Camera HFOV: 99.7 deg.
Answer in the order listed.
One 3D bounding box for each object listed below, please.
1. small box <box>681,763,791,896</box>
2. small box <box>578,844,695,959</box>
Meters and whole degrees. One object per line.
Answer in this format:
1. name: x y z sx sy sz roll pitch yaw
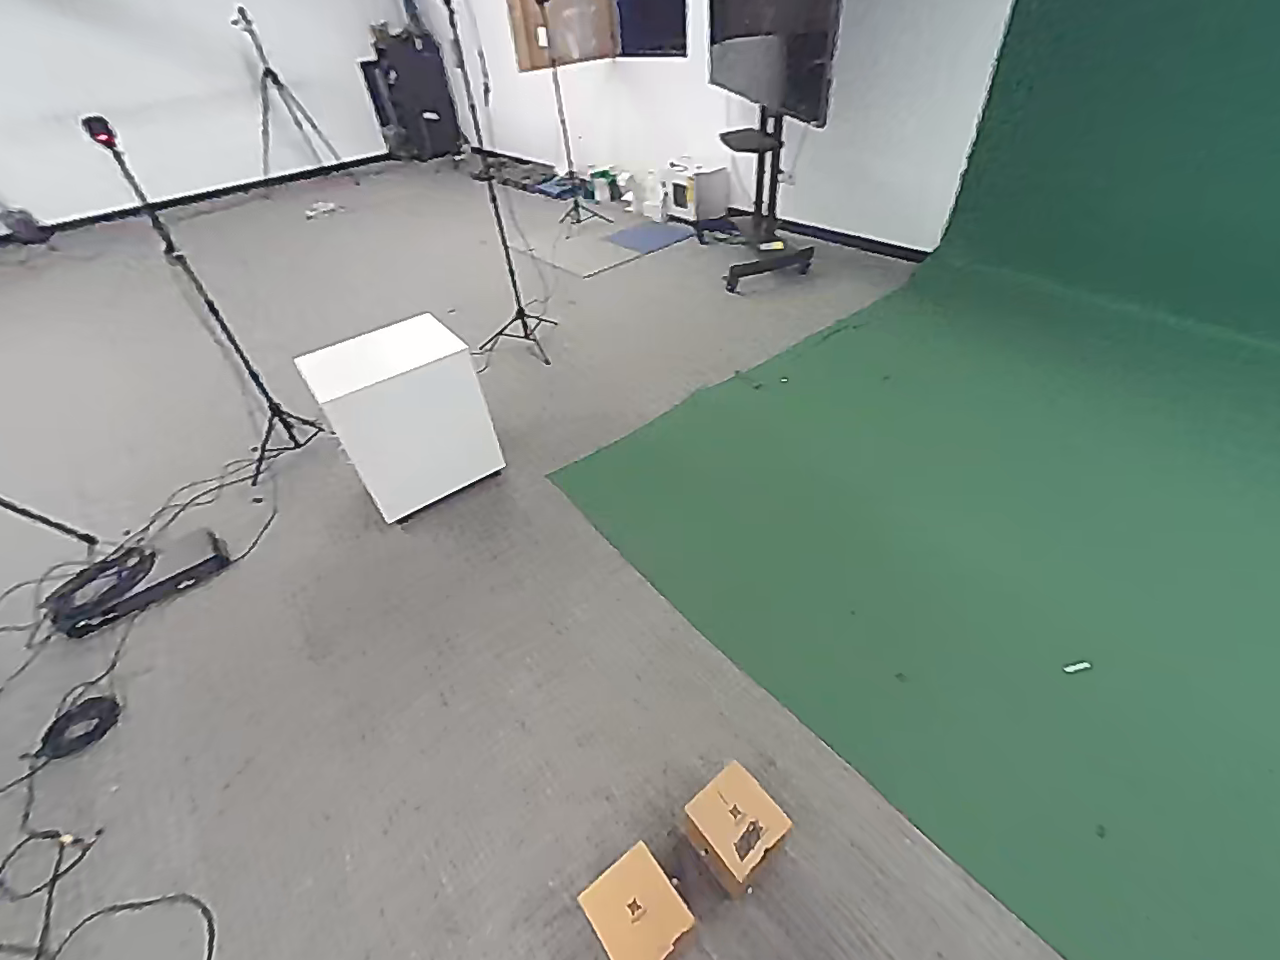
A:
1. small box: 0.212 0.789 1.213 0.168 0.176 0.179 -30 47 -25
2. small box: -0.007 0.903 1.105 0.168 0.176 0.179 -29 47 -25
